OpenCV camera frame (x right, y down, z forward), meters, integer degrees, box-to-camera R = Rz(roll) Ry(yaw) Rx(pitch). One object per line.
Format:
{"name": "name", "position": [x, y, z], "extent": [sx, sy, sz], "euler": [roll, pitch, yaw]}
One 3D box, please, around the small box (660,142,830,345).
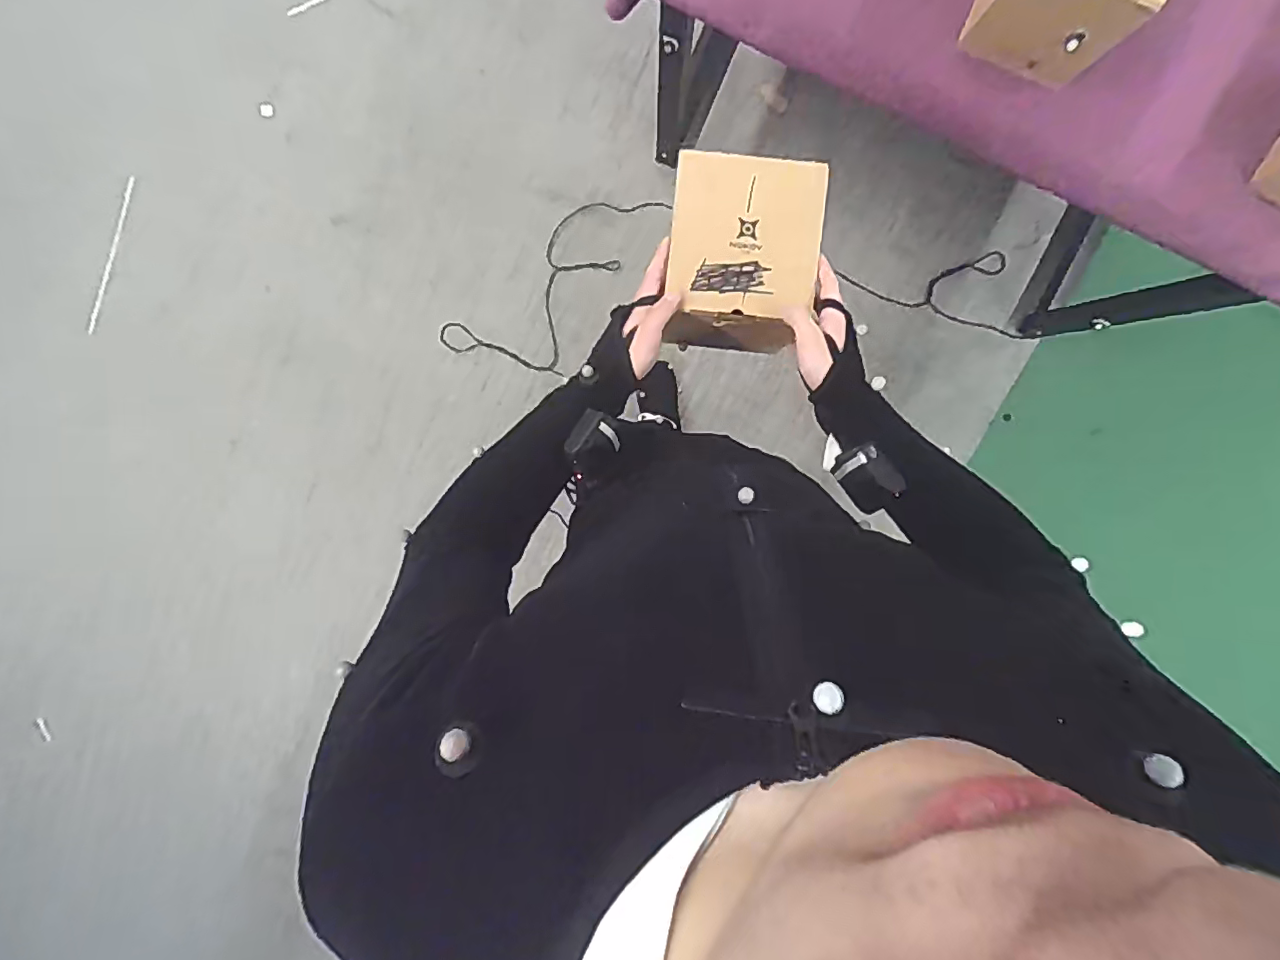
{"name": "small box", "position": [0.115, -0.272, 0.660], "extent": [0.168, 0.176, 0.179], "euler": [6, 92, 1]}

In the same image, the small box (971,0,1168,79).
{"name": "small box", "position": [0.562, -0.663, 0.683], "extent": [0.168, 0.176, 0.179], "euler": [21, 97, -2]}
